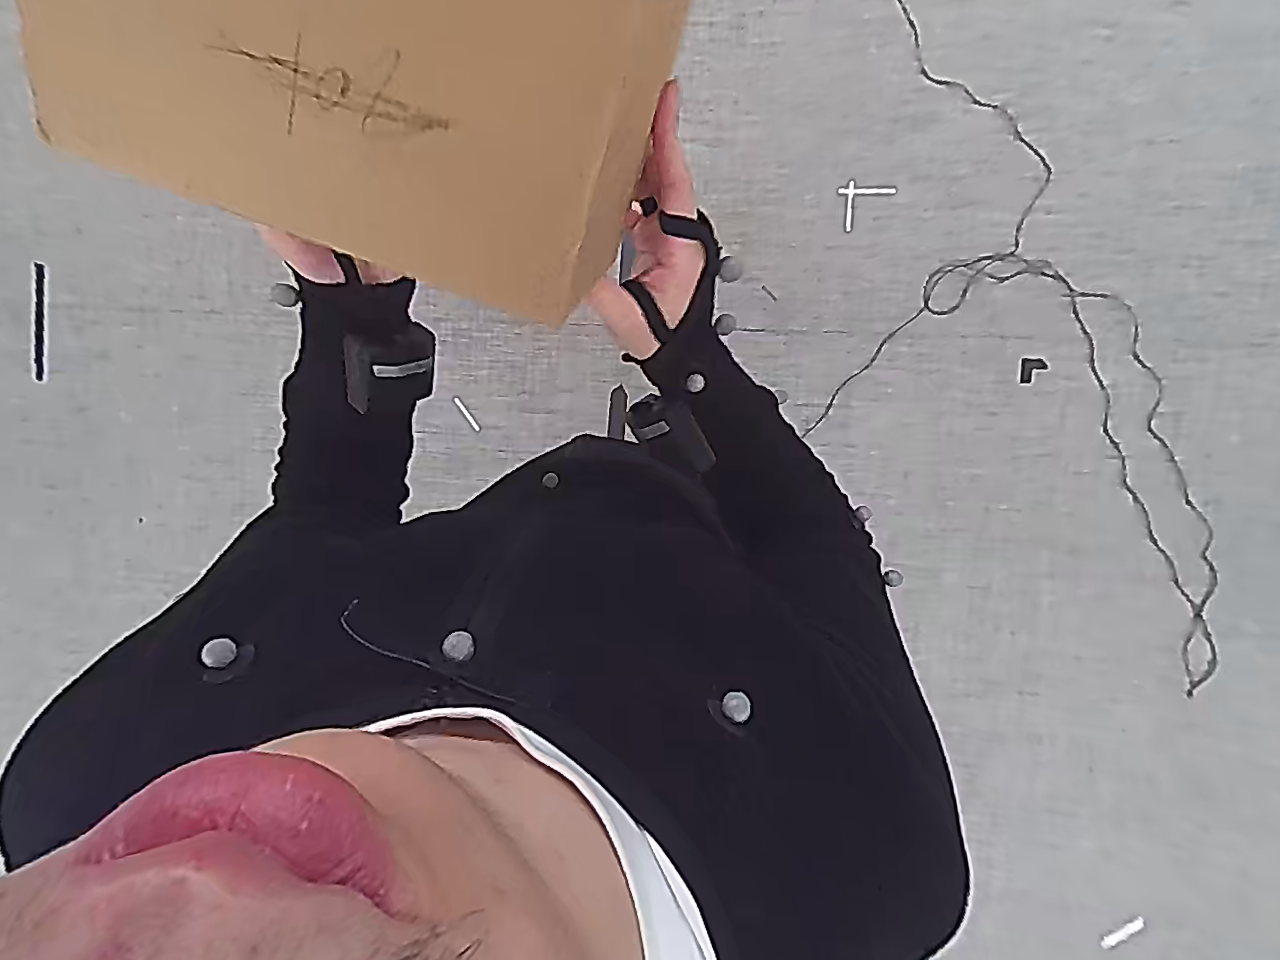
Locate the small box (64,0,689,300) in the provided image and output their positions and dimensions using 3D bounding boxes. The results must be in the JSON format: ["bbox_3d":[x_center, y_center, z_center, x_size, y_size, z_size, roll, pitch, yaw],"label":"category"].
[{"bbox_3d":[-0.070,-0.193,0.213,0.168,0.176,0.179,15,118,-3],"label":"small box"}]
